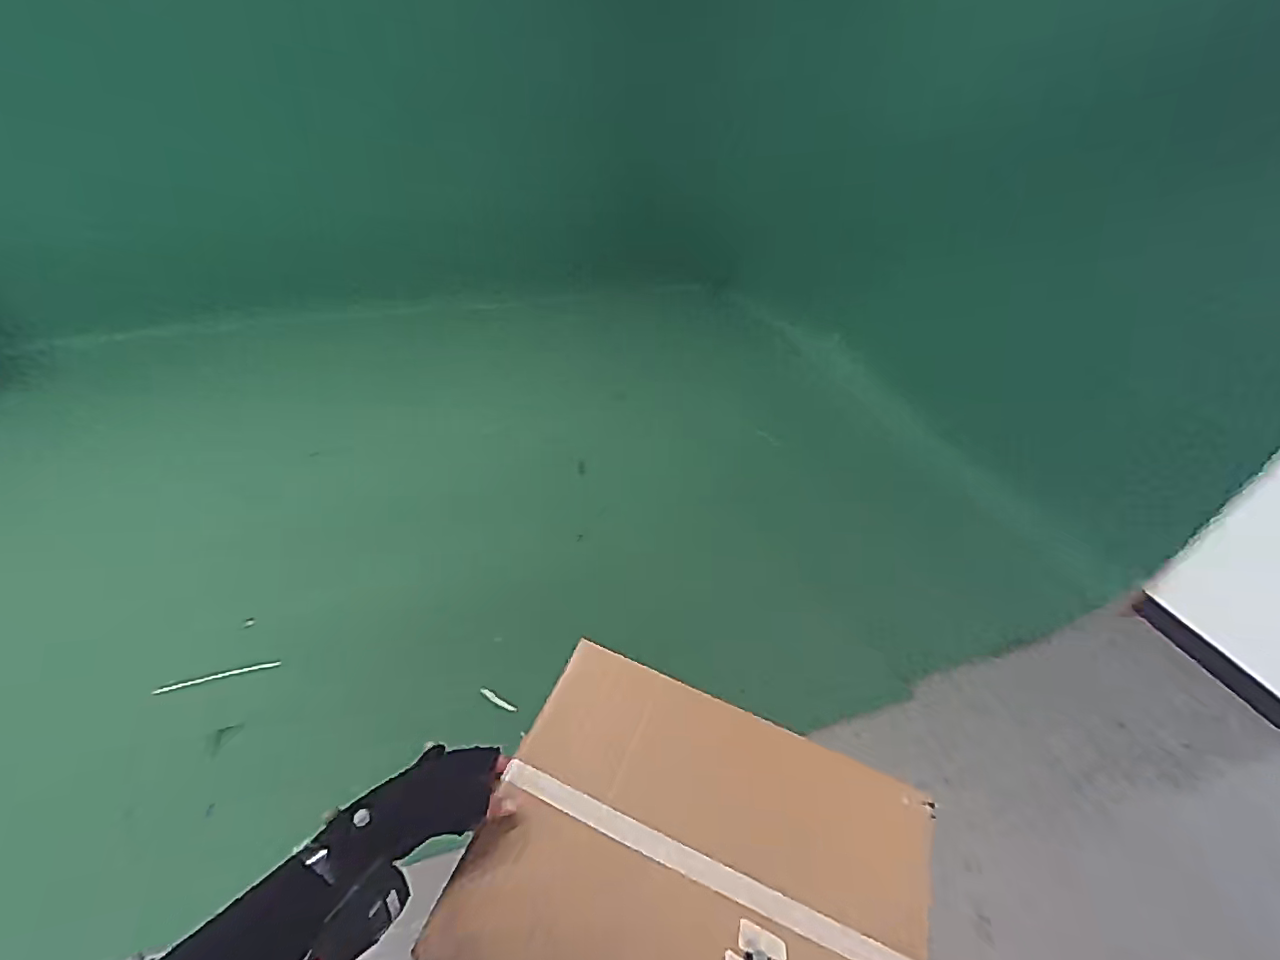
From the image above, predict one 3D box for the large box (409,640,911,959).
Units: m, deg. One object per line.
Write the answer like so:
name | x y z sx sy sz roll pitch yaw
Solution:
large box | 0.030 0.451 0.608 0.408 0.320 0.320 20 47 12
